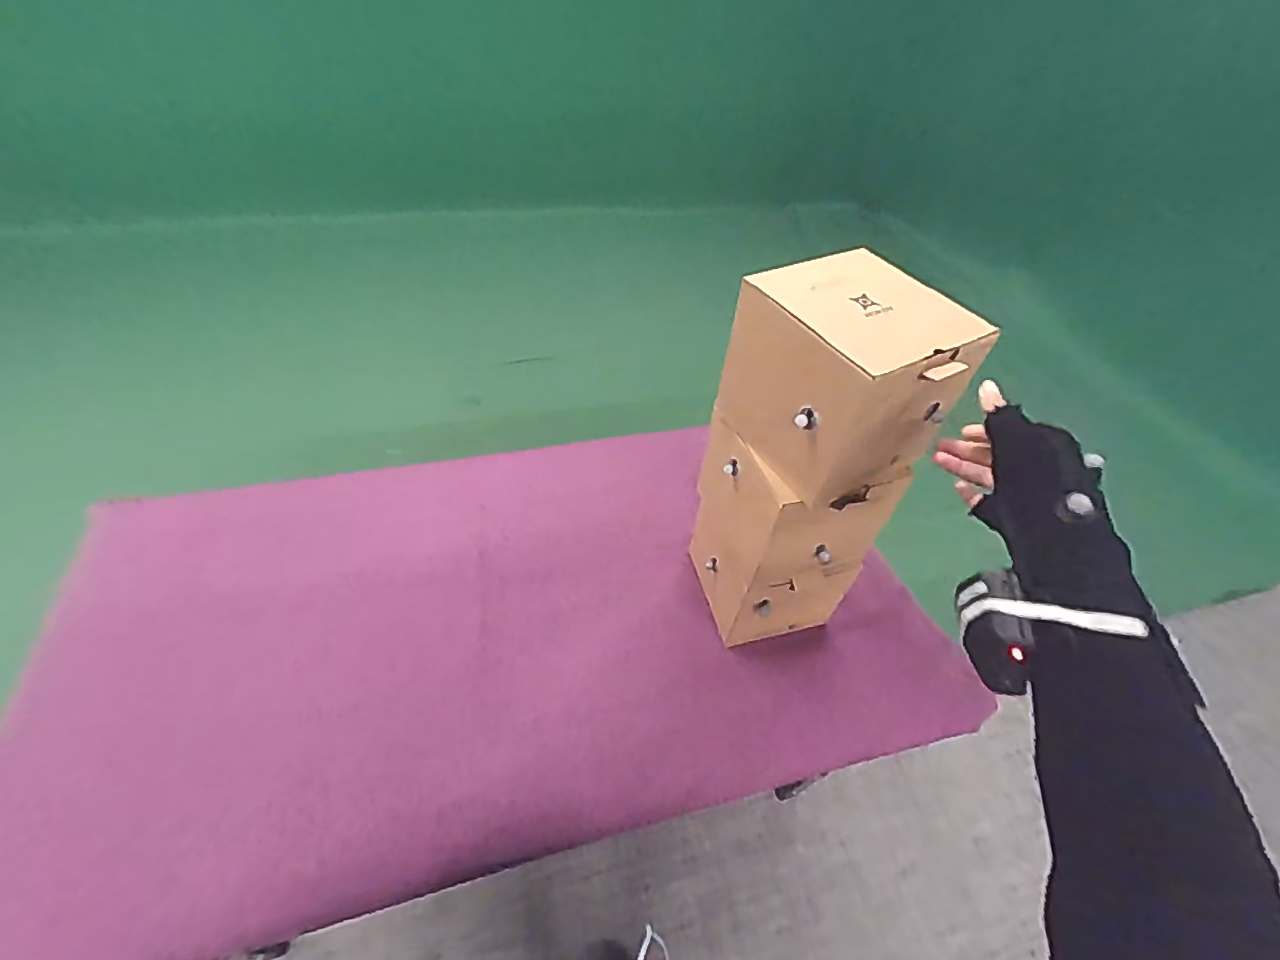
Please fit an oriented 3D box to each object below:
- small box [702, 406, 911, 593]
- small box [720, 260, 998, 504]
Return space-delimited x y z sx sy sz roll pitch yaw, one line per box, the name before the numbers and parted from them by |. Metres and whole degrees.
small box | 0.189 0.013 0.680 0.168 0.176 0.179 -12 51 -14
small box | 0.205 -0.096 0.560 0.168 0.176 0.179 -20 53 -22
